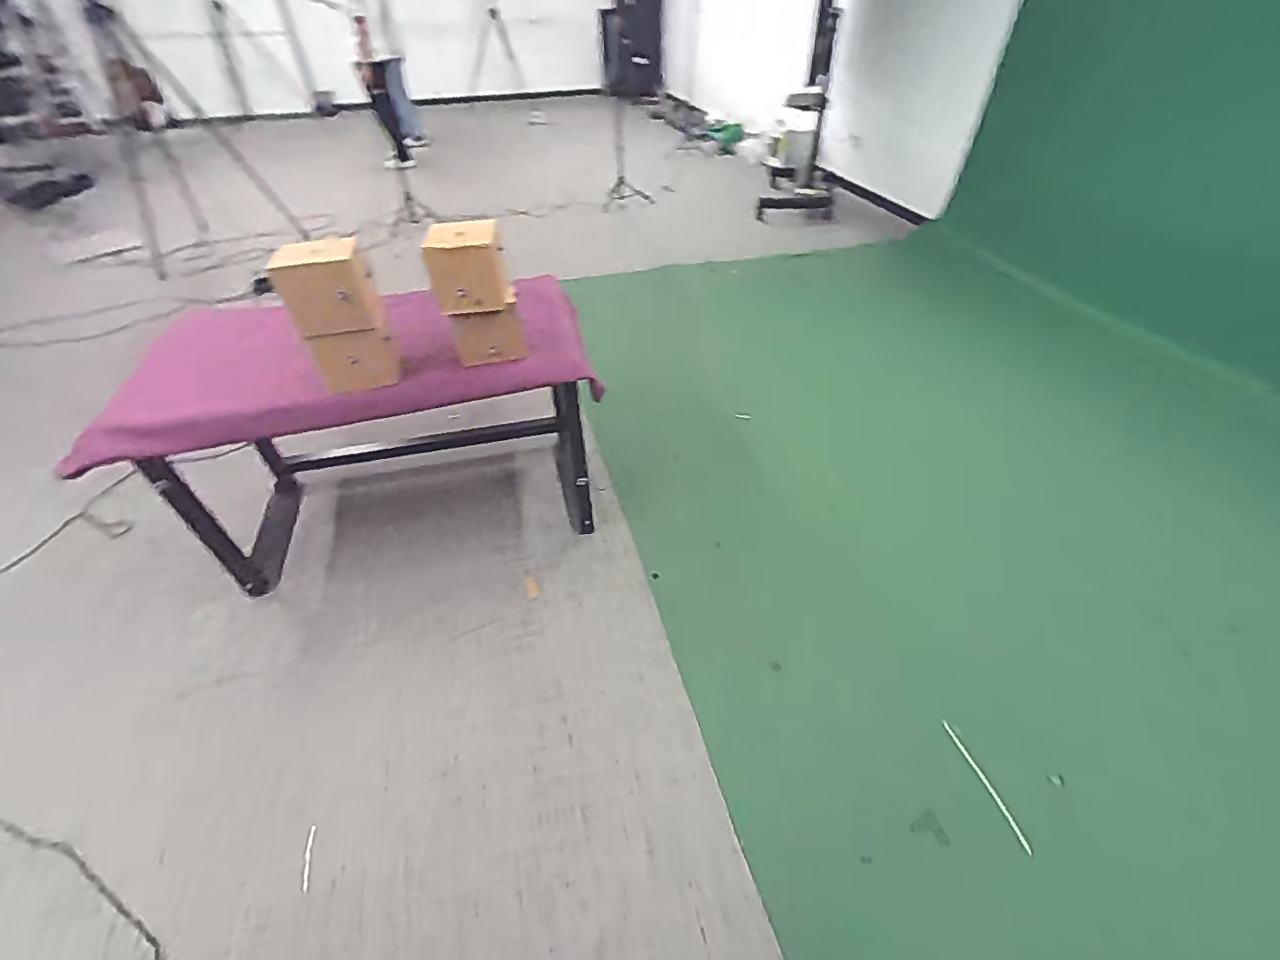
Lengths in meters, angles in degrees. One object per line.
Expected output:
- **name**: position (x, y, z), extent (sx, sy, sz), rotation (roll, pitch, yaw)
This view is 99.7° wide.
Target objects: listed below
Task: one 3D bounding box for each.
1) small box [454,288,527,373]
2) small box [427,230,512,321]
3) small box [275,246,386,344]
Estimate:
- **small box**: position (-0.417, -0.420, 1.517), extent (0.179, 0.176, 0.168), rotation (-11, 42, -10)
- **small box**: position (-0.430, -0.526, 1.392), extent (0.168, 0.176, 0.179), rotation (-6, 43, -4)
- **small box**: position (-0.739, -0.450, 1.316), extent (0.179, 0.176, 0.168), rotation (-11, 41, -9)
